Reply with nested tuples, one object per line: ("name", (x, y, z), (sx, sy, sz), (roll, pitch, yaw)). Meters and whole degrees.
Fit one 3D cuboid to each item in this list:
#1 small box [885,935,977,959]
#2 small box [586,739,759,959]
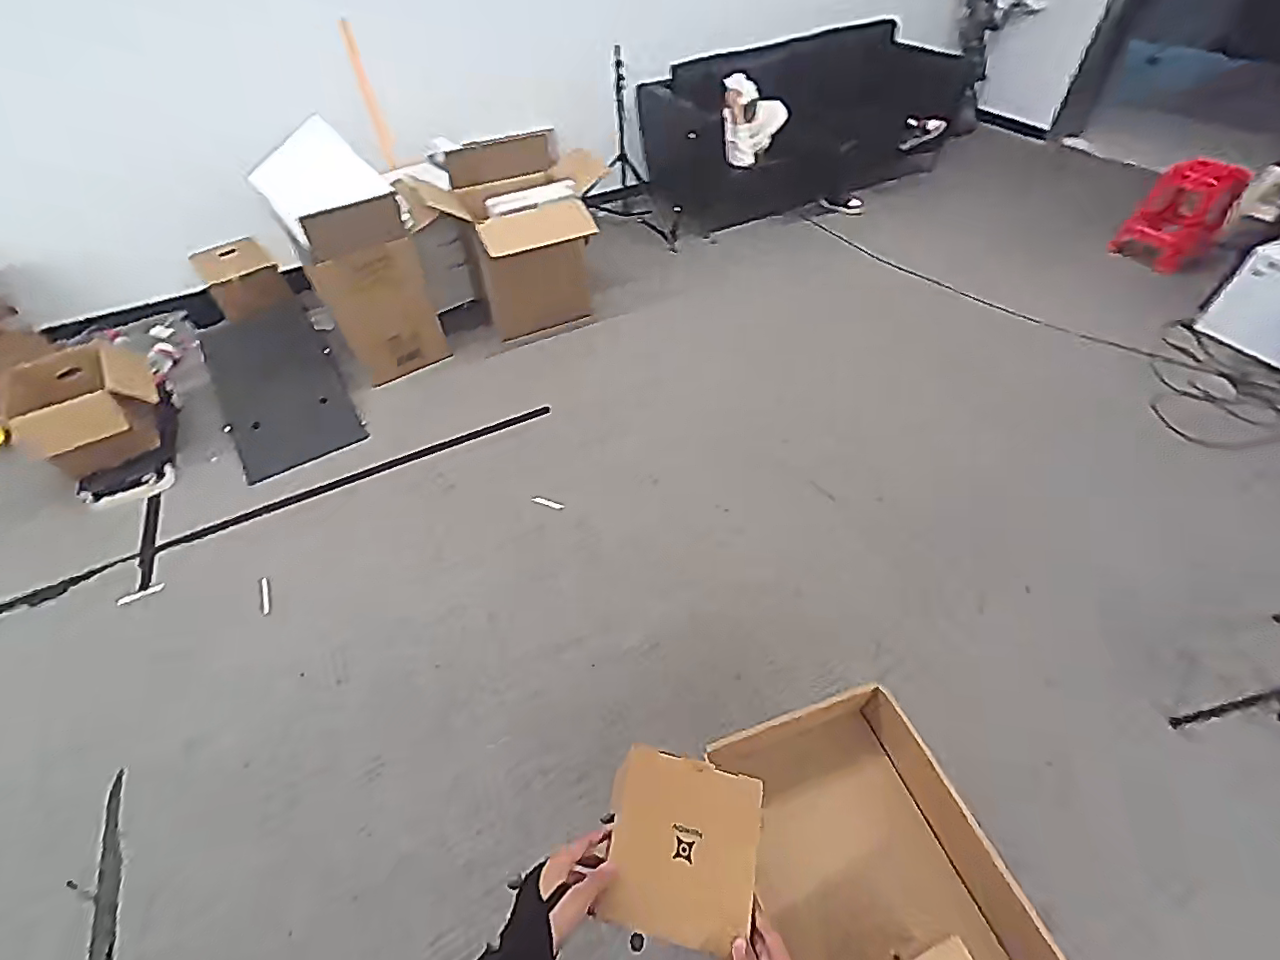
("small box", (0.415, 0.789, 0.767), (0.179, 0.176, 0.168), (-16, 50, -14))
("small box", (0.035, 0.446, 0.657), (0.168, 0.176, 0.179), (15, 51, 2))
